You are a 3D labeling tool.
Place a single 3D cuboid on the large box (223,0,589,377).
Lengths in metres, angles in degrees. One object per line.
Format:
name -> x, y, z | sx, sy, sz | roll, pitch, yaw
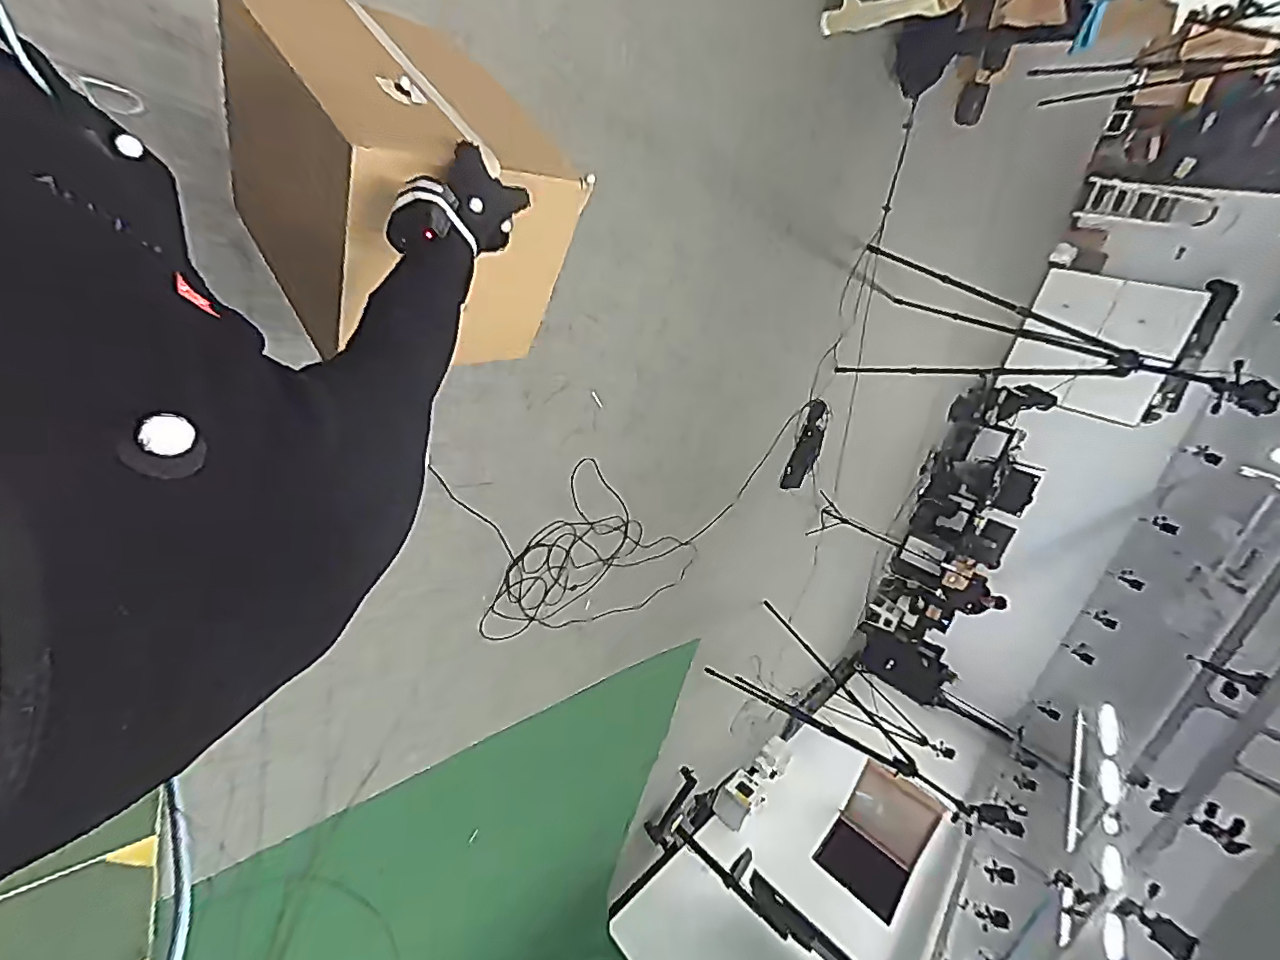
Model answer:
large box -> -0.355, -0.413, 0.795 | 0.320, 0.408, 0.320 | -21, 156, -43
